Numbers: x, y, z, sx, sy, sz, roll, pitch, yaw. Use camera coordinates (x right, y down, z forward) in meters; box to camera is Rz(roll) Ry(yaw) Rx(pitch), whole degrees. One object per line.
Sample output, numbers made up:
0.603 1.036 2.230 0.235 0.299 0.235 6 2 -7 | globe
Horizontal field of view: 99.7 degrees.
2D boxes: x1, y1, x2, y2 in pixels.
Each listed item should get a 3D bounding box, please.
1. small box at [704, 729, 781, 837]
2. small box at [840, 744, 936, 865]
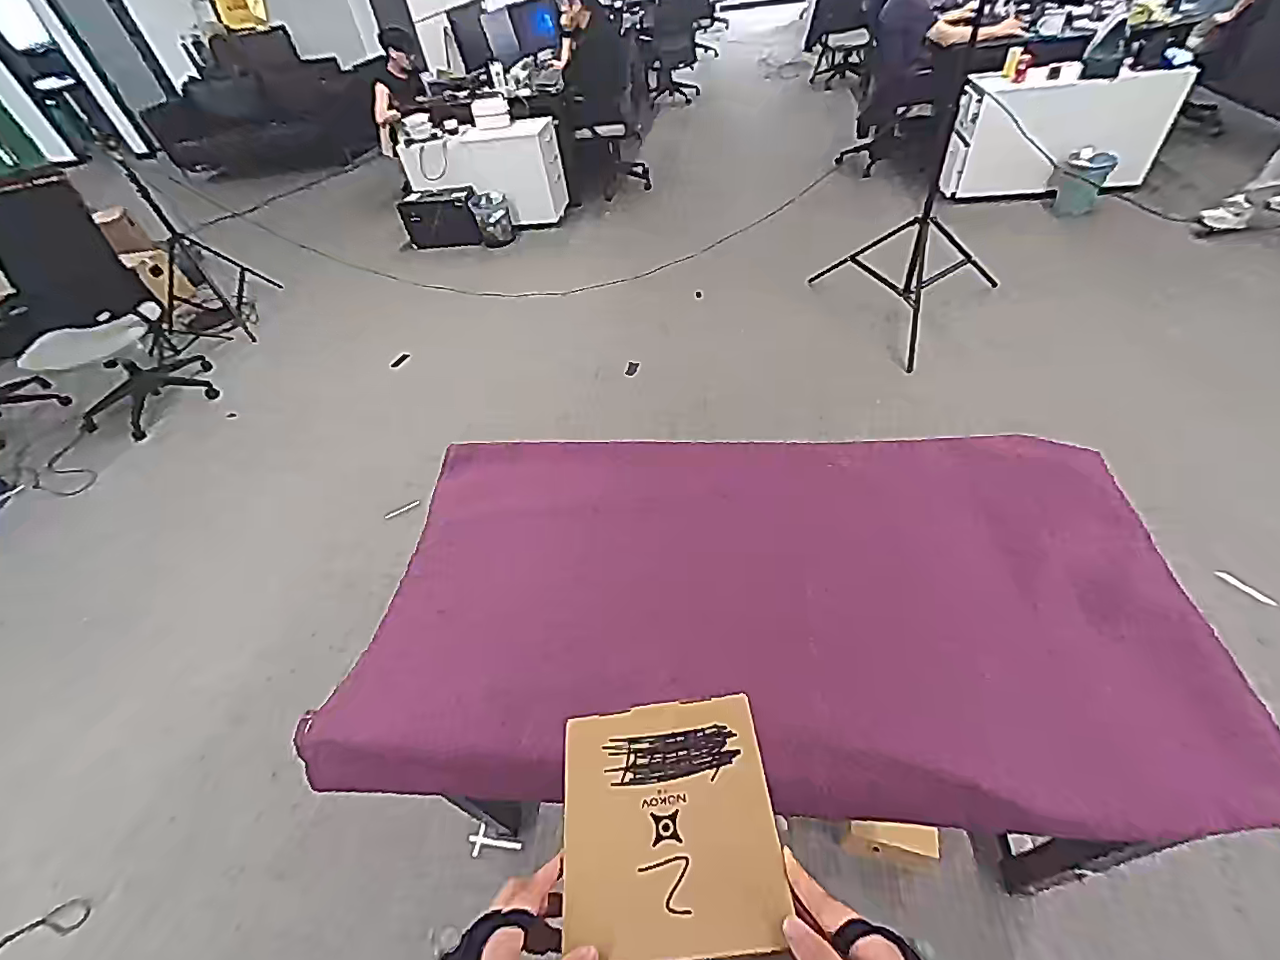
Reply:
0.241 0.708 1.258 0.168 0.176 0.179 2 47 11 | small box
0.543 0.722 1.198 0.168 0.176 0.179 7 48 16 | small box
